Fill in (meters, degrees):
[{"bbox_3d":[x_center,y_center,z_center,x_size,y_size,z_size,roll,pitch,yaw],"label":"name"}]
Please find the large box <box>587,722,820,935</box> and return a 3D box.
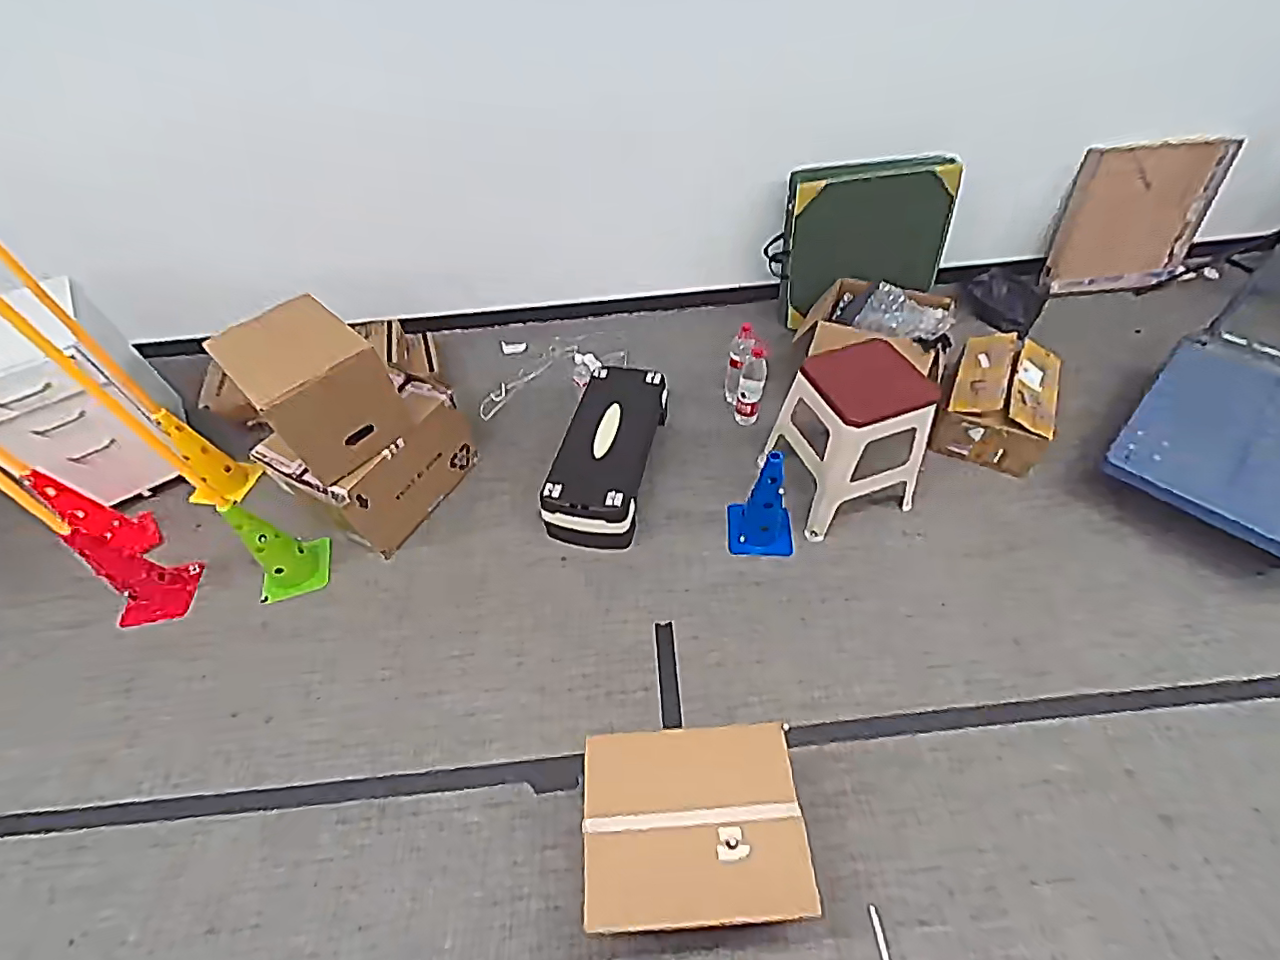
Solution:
[{"bbox_3d":[0.104,0.724,1.121,0.408,0.320,0.320,-4,51,-1],"label":"large box"}]
